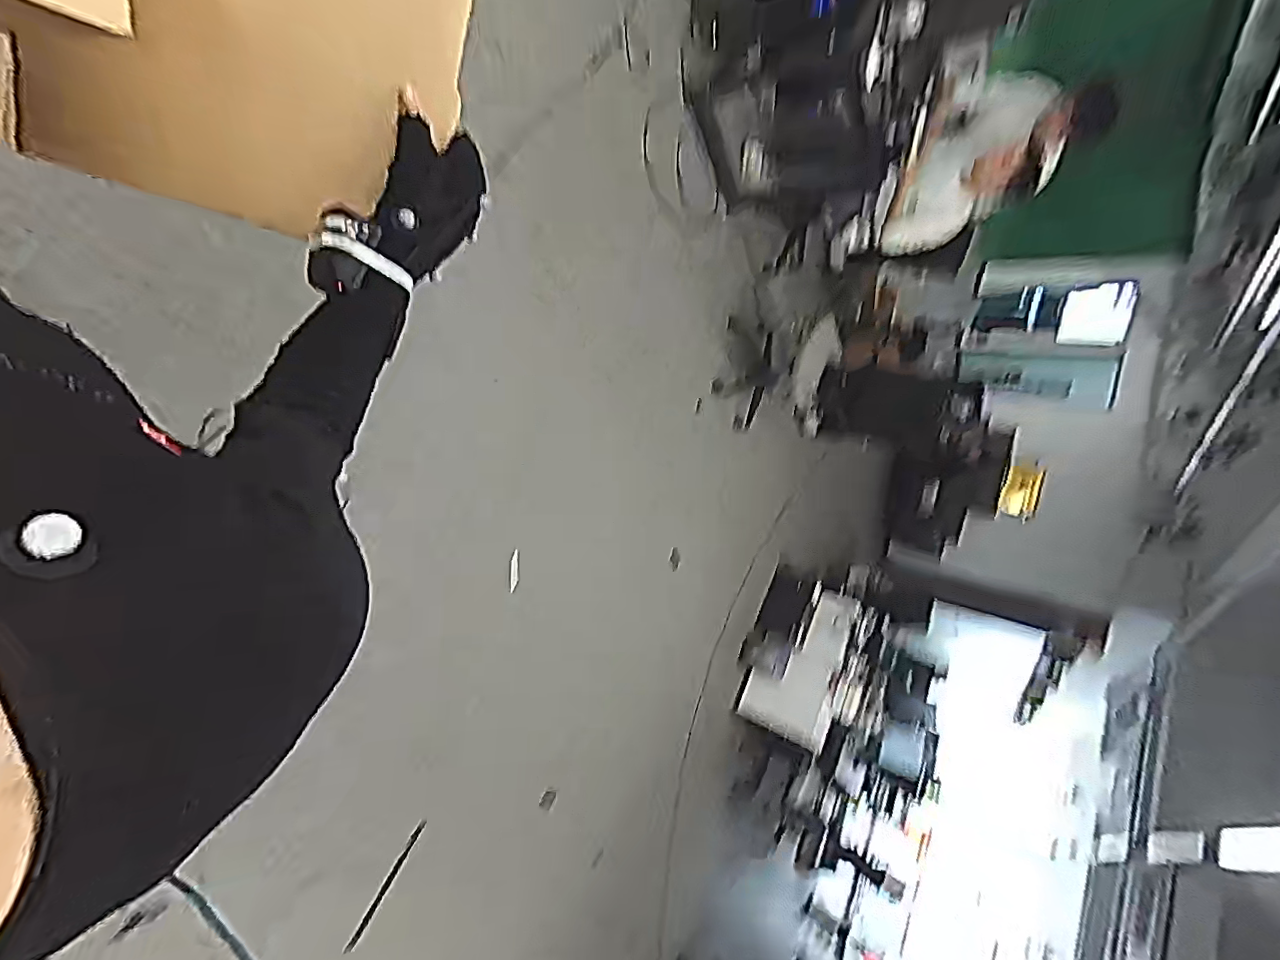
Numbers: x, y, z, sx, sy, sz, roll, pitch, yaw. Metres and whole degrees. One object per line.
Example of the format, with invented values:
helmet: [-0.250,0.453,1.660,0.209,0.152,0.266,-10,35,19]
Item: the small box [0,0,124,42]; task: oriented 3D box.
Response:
small box: [-0.409,-0.352,0.261,0.179,0.176,0.168,-25,131,-59]
